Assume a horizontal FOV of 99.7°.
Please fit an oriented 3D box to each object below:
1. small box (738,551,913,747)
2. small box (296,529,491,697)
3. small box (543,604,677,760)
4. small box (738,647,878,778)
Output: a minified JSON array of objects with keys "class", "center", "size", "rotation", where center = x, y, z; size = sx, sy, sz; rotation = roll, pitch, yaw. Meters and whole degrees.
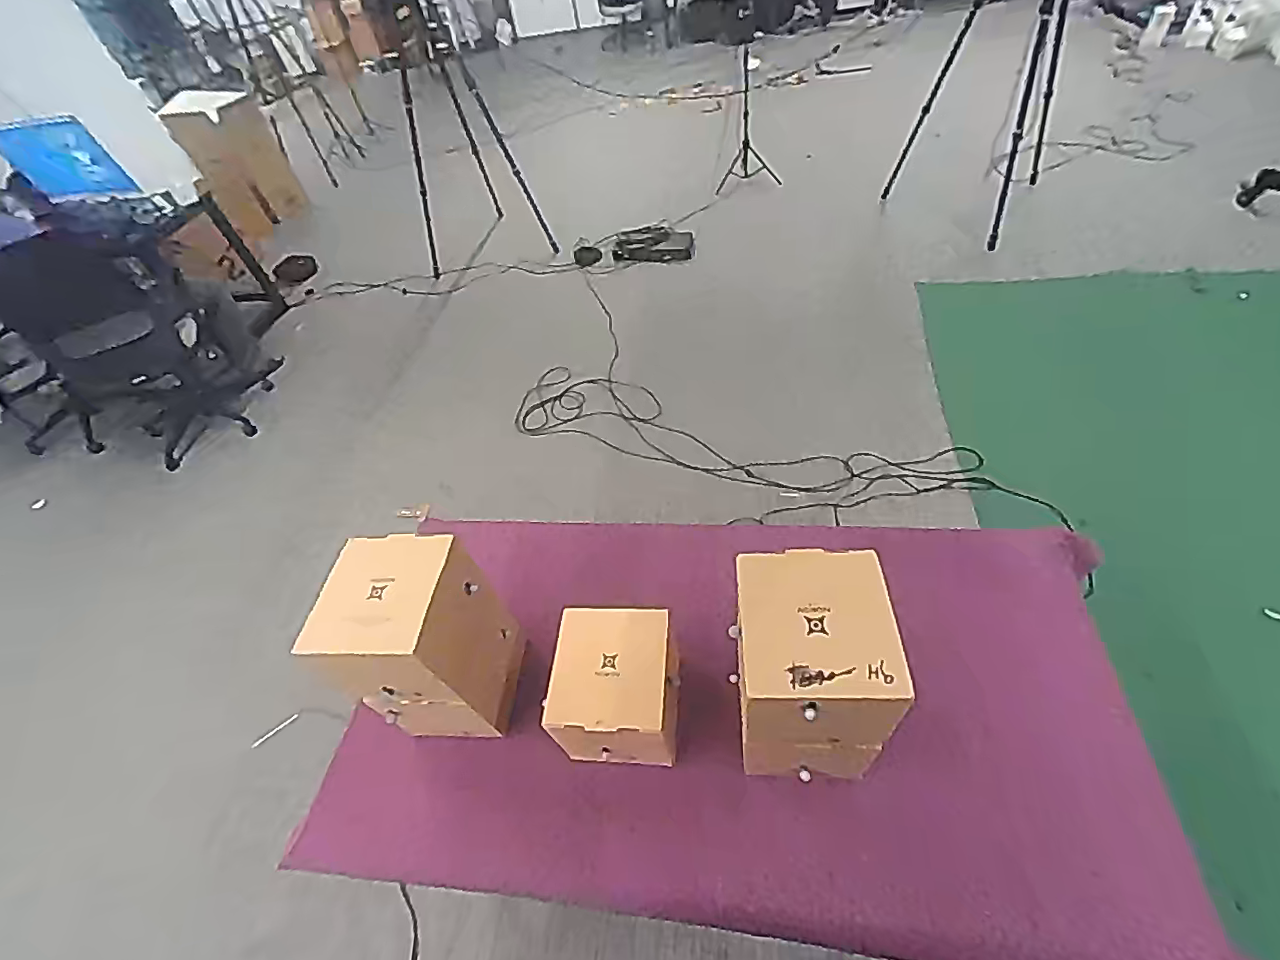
[{"class":"small box","center":[0.206,0.204,0.656],"size":[0.168,0.176,0.179],"rotation":[-2,49,9]},{"class":"small box","center":[-0.328,0.188,0.766],"size":[0.168,0.176,0.179],"rotation":[-1,50,9]},{"class":"small box","center":[-0.033,0.309,0.830],"size":[0.168,0.176,0.179],"rotation":[-1,51,10]},{"class":"small box","center":[0.227,0.310,0.780],"size":[0.168,0.176,0.179],"rotation":[-2,50,9]}]
